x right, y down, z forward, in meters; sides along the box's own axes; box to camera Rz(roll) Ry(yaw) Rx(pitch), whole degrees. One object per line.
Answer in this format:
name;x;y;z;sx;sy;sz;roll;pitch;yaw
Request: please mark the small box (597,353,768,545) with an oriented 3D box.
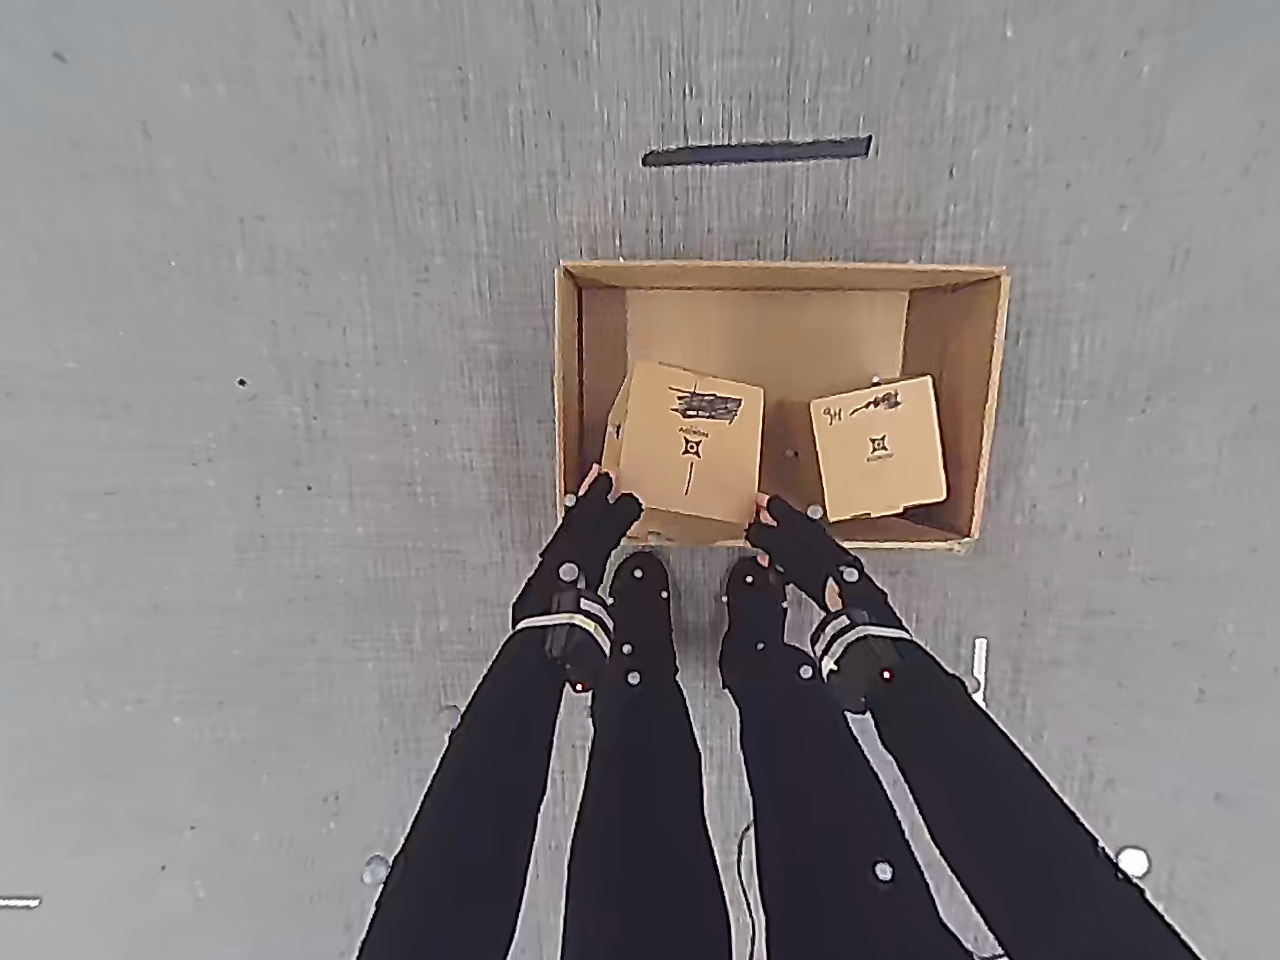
small box;0.046;-0.028;0.683;0.168;0.176;0.179;11;71;-11
